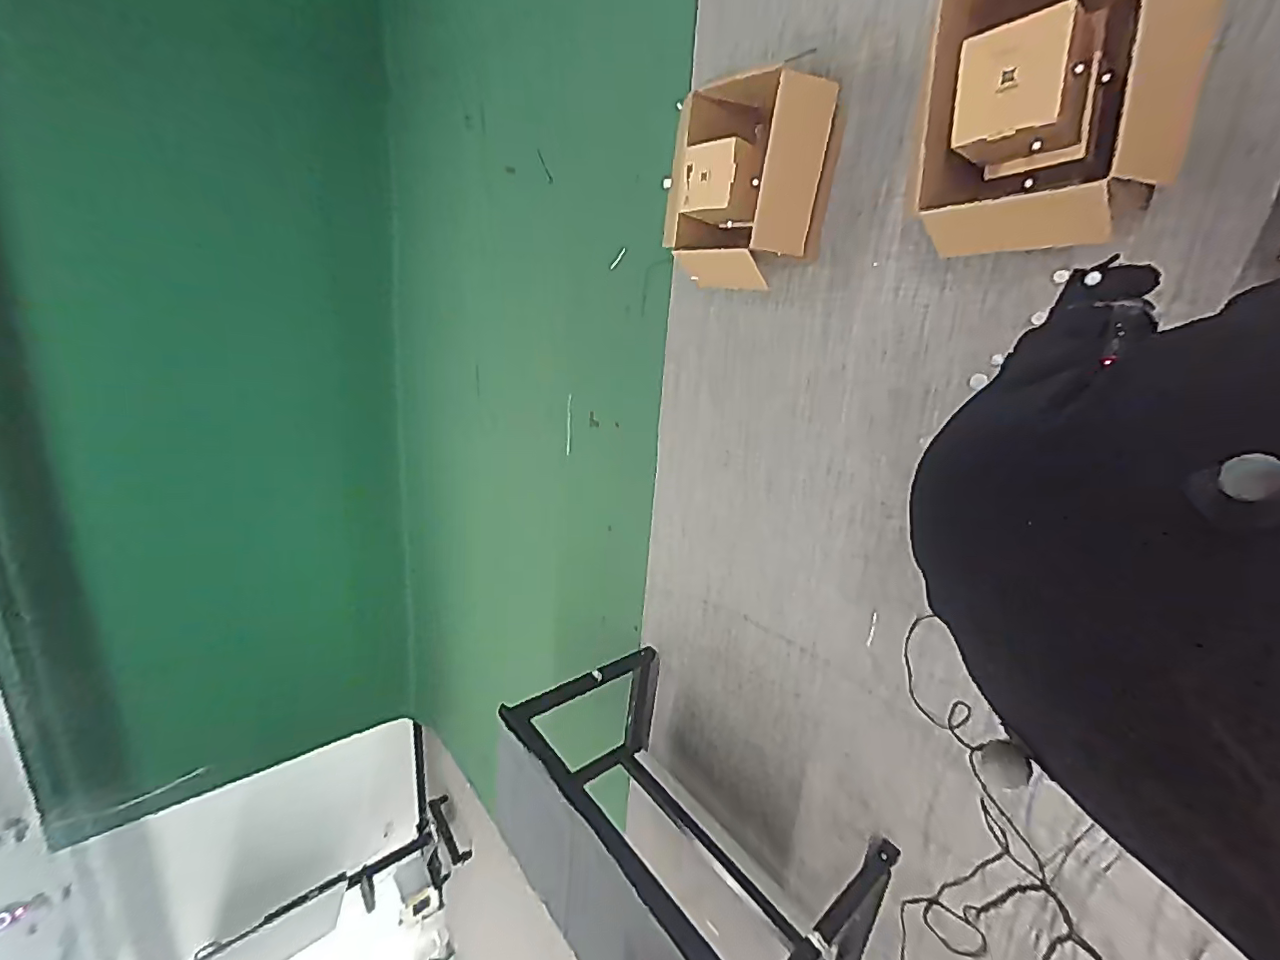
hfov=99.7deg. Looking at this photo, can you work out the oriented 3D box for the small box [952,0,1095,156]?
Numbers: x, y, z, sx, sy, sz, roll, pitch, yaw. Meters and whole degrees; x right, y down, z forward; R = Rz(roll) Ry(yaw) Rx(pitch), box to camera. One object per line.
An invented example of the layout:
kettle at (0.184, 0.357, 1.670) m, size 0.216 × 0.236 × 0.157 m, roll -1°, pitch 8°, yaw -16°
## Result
small box at (0.693, -0.708, 0.977) m, size 0.168 × 0.176 × 0.179 m, roll 14°, pitch 110°, yaw 47°
